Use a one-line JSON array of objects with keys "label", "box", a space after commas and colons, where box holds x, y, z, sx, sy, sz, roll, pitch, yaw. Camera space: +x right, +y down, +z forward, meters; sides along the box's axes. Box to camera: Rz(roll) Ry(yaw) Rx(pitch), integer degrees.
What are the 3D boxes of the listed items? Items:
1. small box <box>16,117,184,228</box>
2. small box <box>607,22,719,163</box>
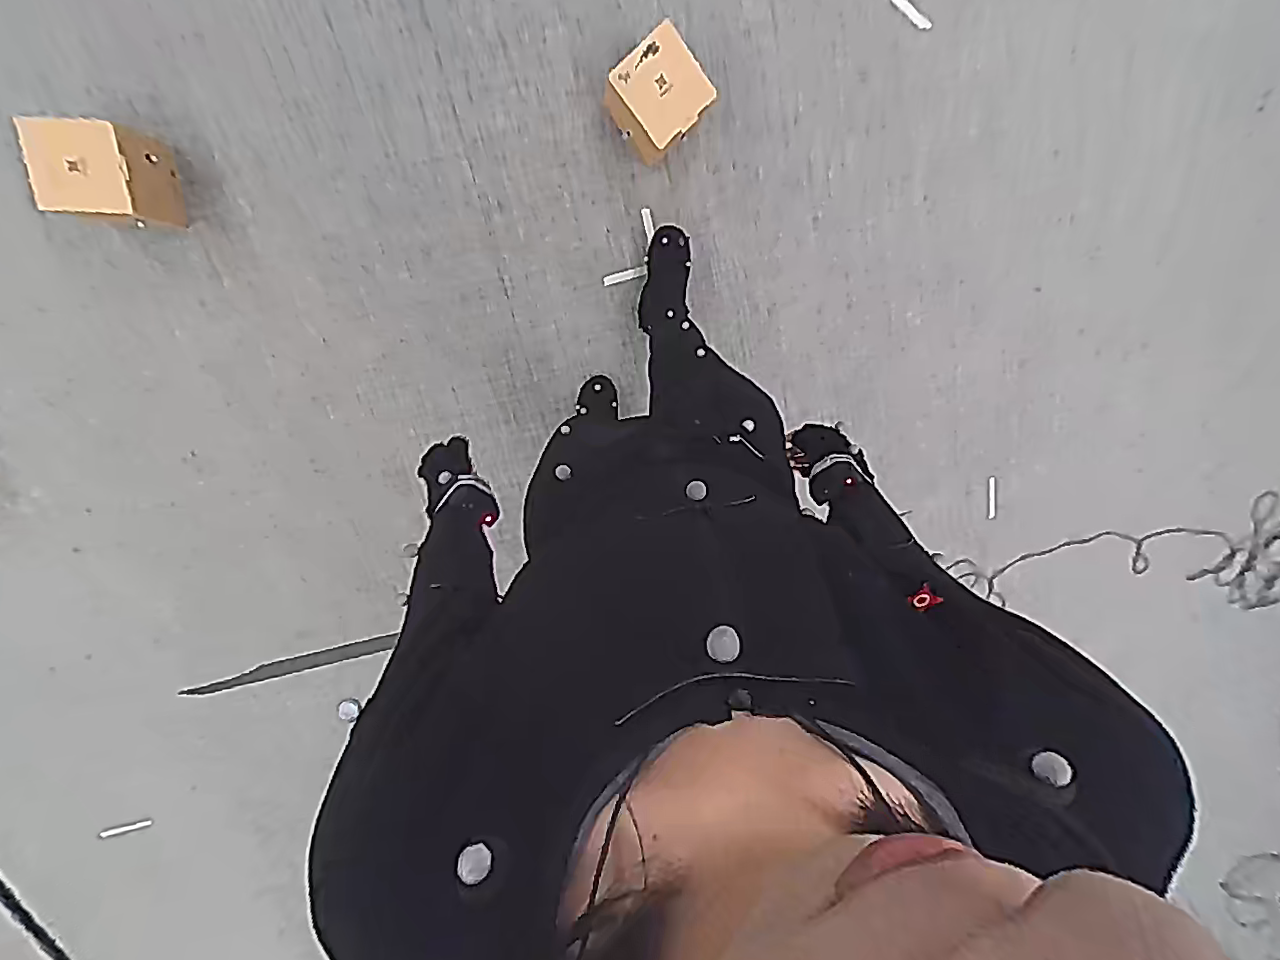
[{"label": "small box", "box": [-1.099, -0.629, 1.124, 0.179, 0.176, 0.168, -1, 105, -5]}, {"label": "small box", "box": [0.043, -0.834, 1.192, 0.168, 0.176, 0.179, -40, 108, 7]}]
